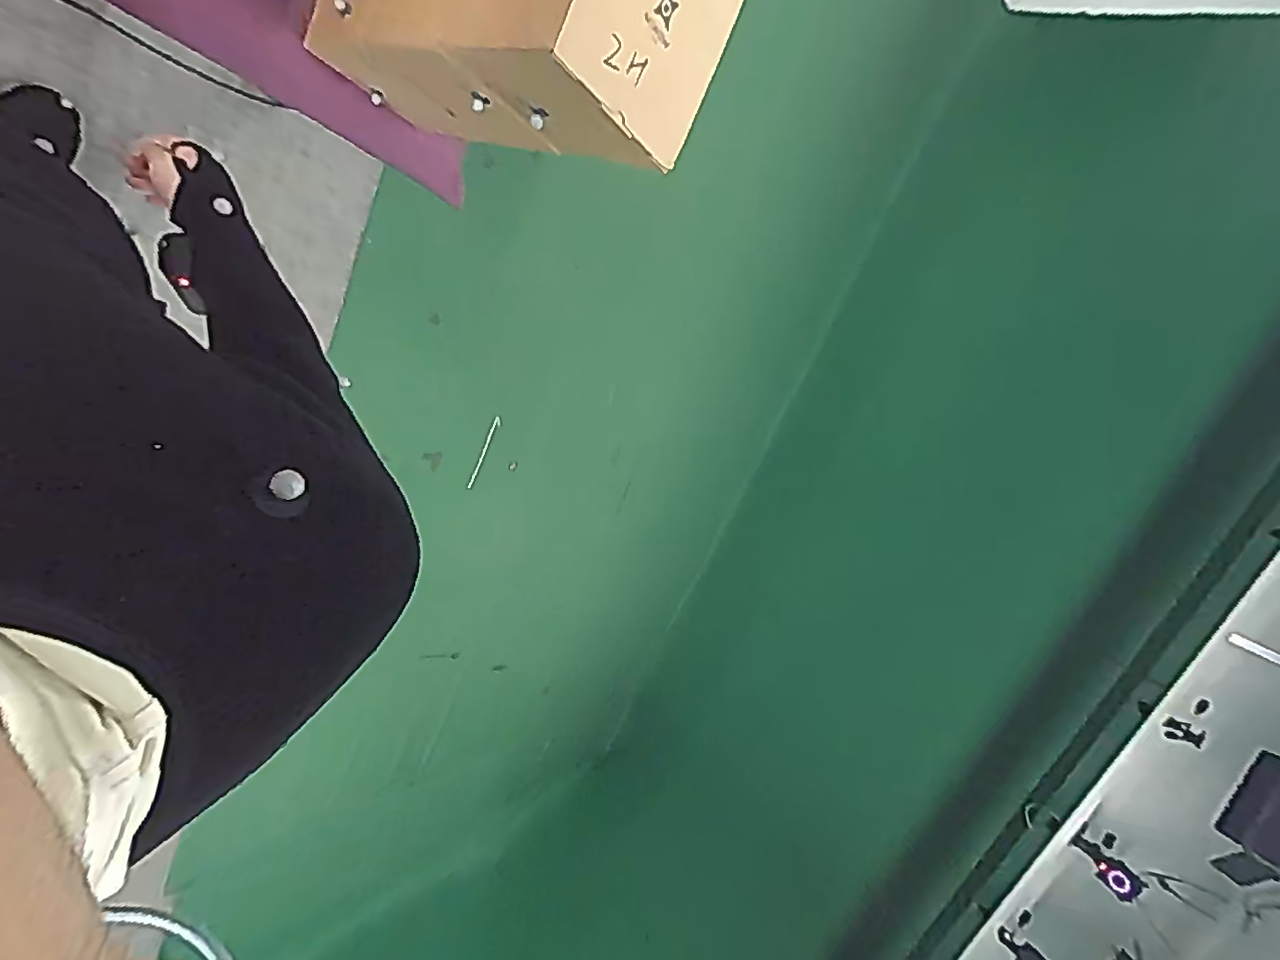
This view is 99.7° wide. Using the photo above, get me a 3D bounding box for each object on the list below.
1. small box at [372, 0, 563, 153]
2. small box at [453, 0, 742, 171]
[{"bbox_3d":[-0.158,-0.495,0.583,0.168,0.176,0.179,11,107,-54],"label":"small box"},{"bbox_3d":[-0.040,-0.423,0.492,0.168,0.176,0.179,10,109,-54],"label":"small box"}]
